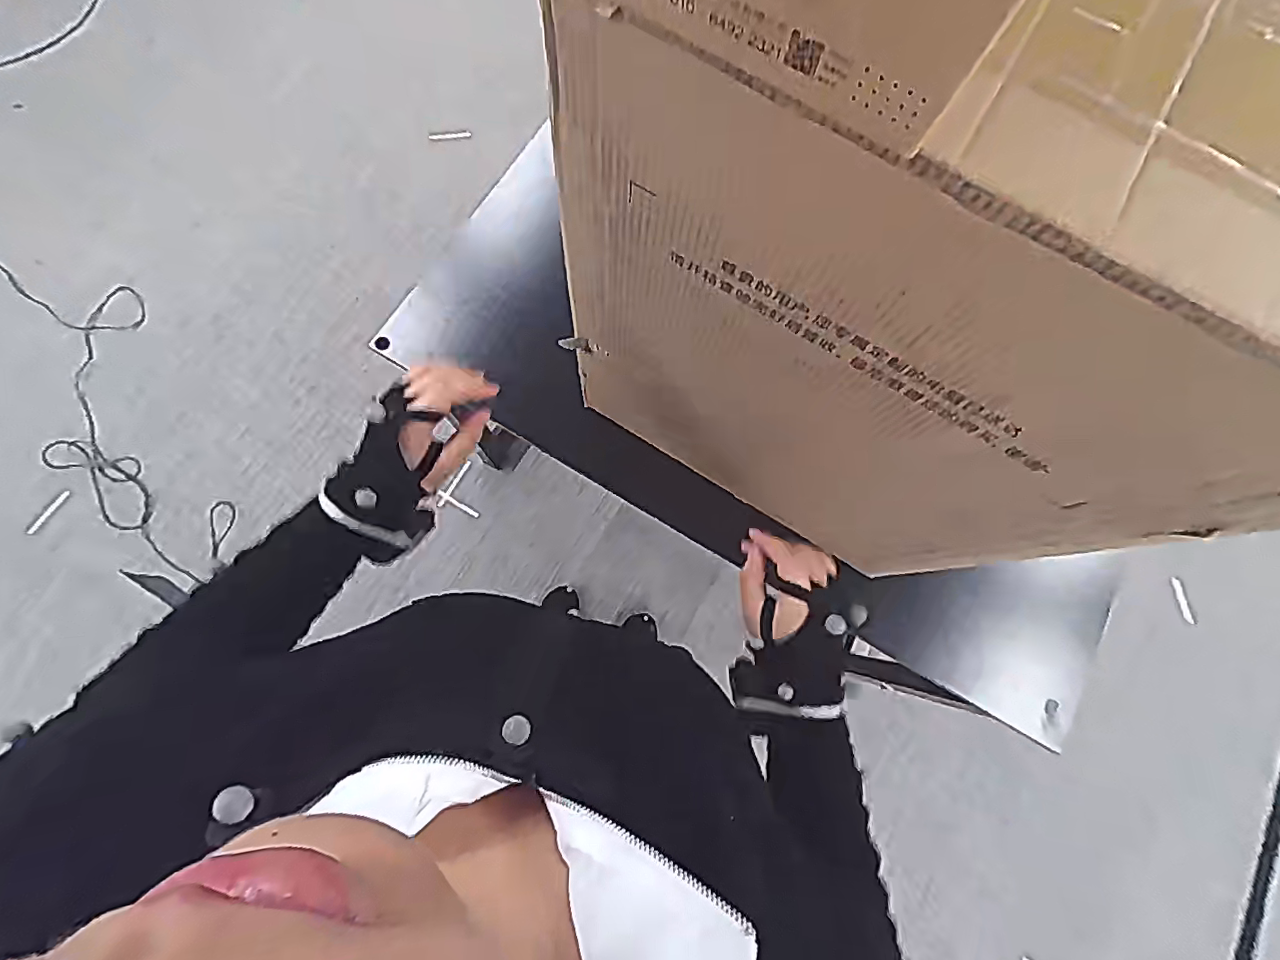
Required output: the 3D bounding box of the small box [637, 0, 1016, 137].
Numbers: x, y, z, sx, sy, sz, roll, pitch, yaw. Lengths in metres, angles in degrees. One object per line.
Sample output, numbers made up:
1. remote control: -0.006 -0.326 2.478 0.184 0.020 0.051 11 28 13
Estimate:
1. small box: 0.096 -0.269 0.174 0.168 0.176 0.179 31 80 4
